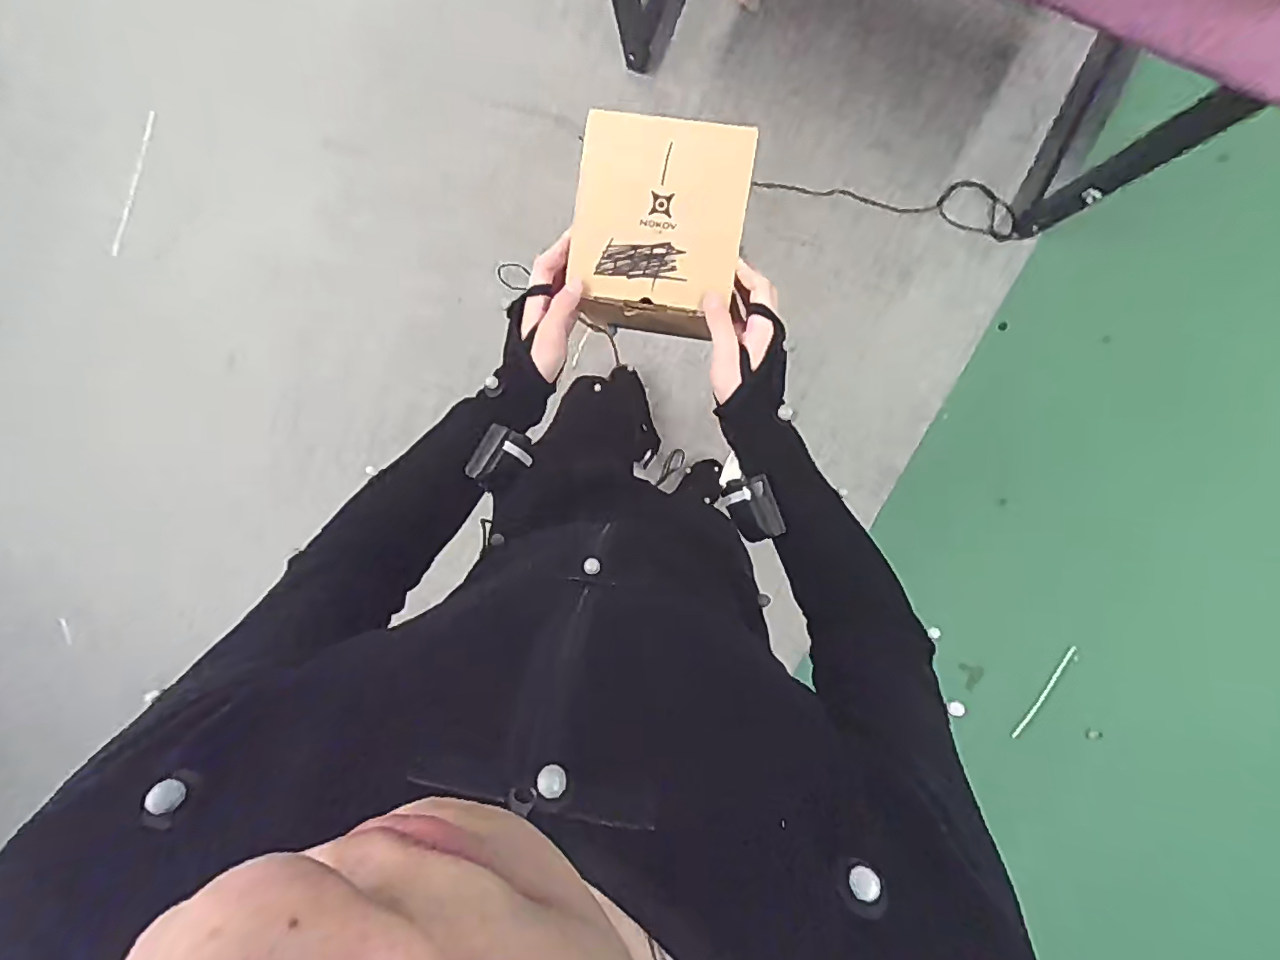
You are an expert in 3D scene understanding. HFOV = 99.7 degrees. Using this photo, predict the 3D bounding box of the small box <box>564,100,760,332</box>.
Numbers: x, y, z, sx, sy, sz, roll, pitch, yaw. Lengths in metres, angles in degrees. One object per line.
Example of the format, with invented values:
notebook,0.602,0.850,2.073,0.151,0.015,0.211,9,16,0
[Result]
small box,0.025,-0.267,0.589,0.168,0.176,0.179,9,97,3
